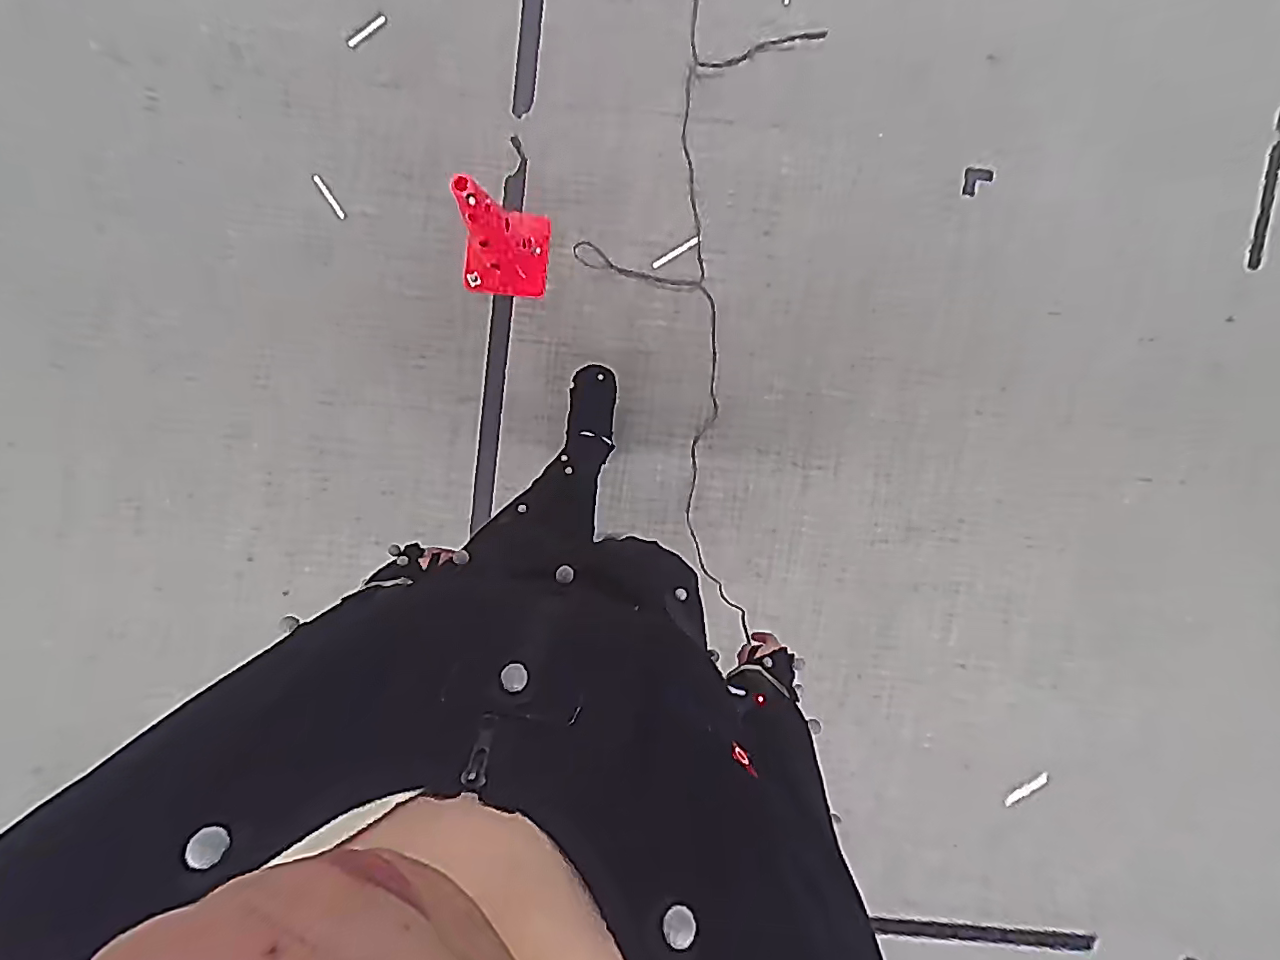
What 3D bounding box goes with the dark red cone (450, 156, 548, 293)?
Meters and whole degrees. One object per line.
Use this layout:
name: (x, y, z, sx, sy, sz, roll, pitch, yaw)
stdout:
dark red cone: (-0.318, -0.546, 1.125, 0.201, 0.394, 0.202, 5, 93, -2)
